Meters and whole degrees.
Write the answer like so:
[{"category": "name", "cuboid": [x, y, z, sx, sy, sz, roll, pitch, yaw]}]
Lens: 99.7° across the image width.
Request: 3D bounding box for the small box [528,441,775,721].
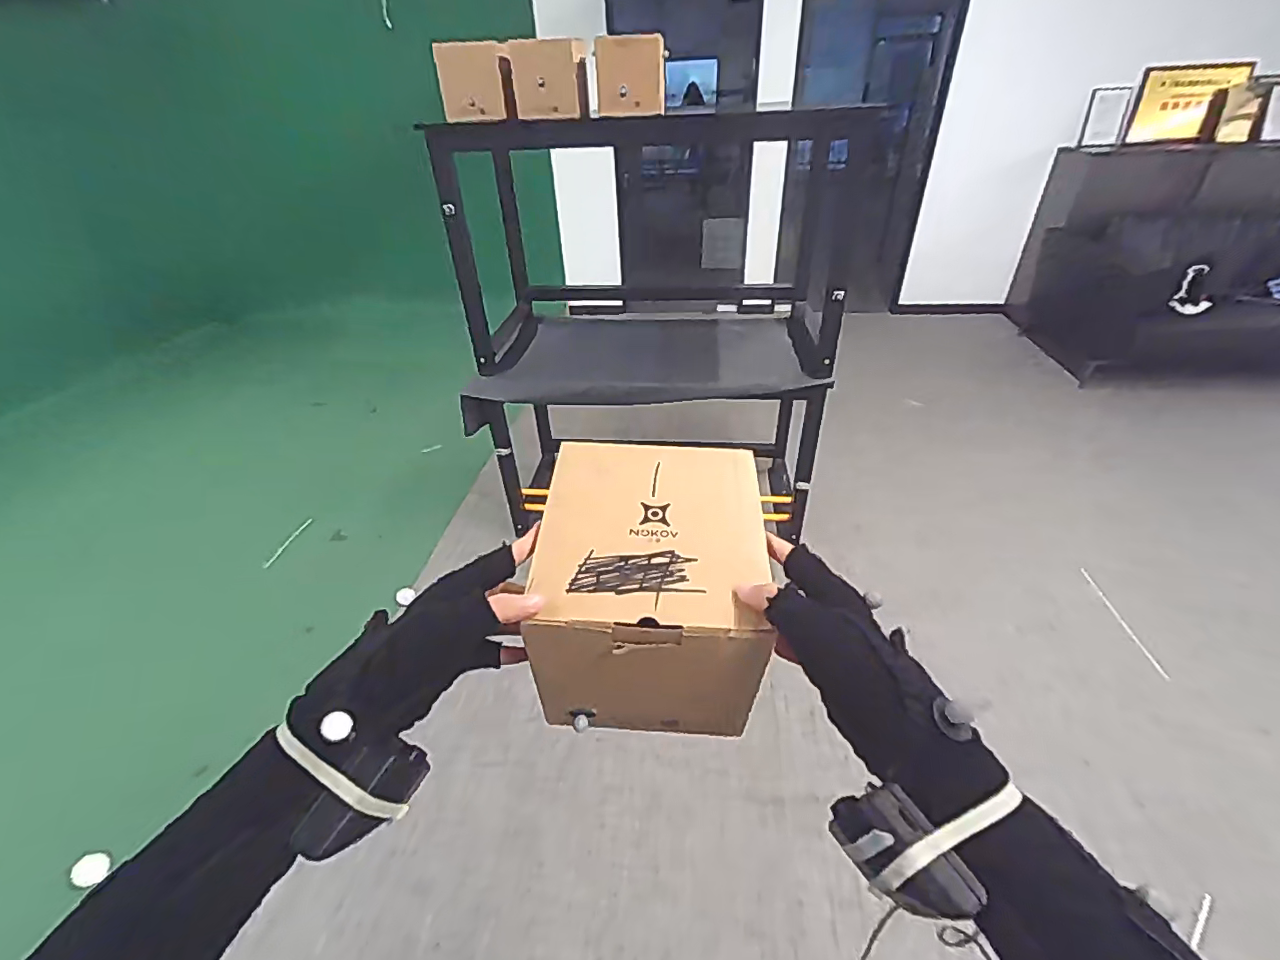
[{"category": "small box", "cuboid": [0.012, 0.087, 0.464, 0.168, 0.176, 0.179, 3, 43, 2]}]
